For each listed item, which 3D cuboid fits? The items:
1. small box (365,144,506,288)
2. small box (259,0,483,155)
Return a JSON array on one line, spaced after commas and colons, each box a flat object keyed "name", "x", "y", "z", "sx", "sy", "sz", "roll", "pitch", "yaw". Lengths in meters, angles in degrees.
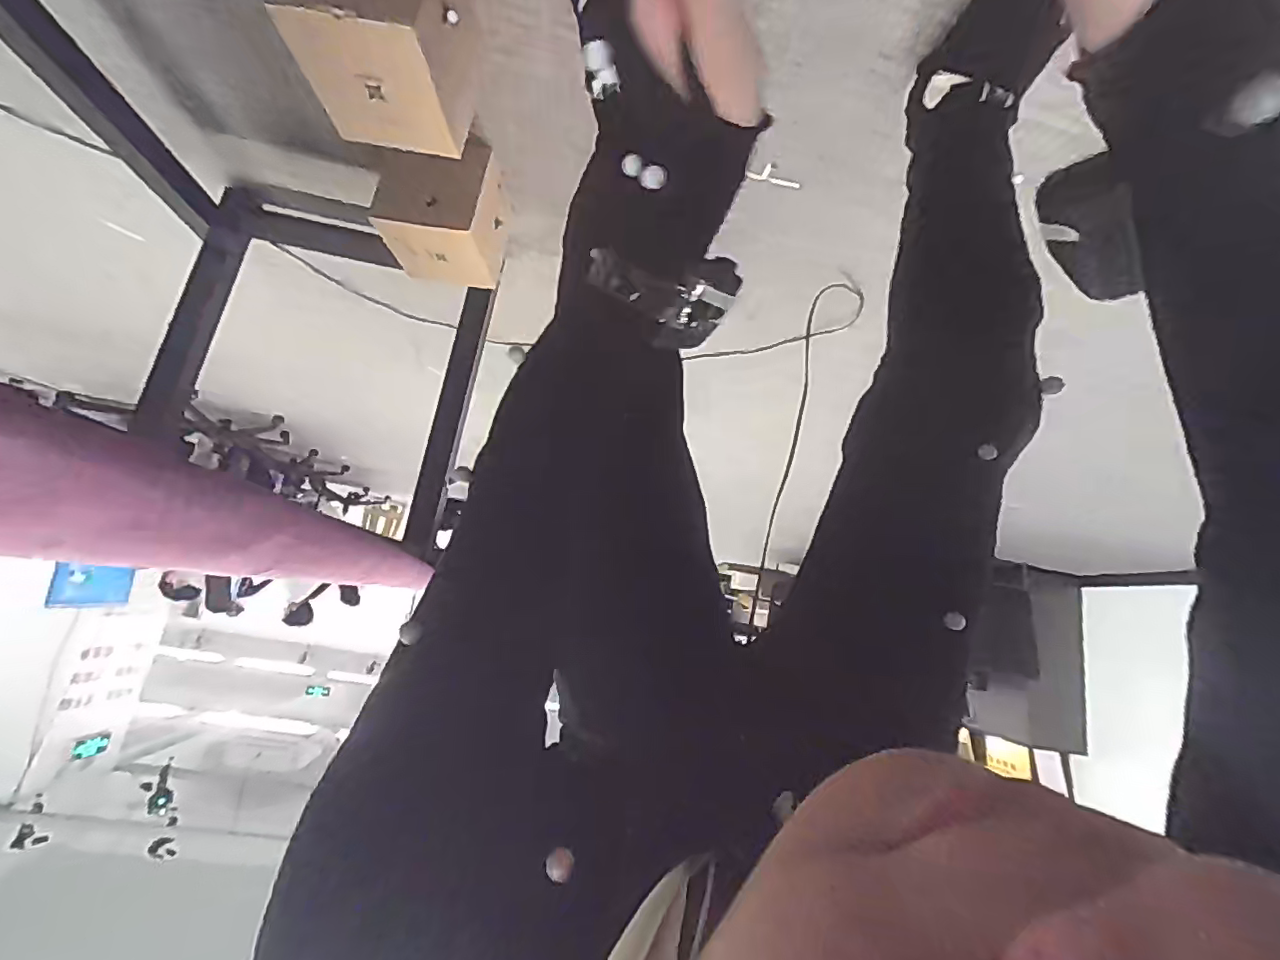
[{"name": "small box", "x": -0.346, "y": -0.468, "z": 0.955, "sx": 0.179, "sy": 0.176, "sz": 0.168, "roll": 9, "pitch": 166, "yaw": 2}, {"name": "small box", "x": -0.303, "y": -0.541, "z": 0.649, "sx": 0.168, "sy": 0.176, "sz": 0.179, "roll": 10, "pitch": 167, "yaw": 0}]
